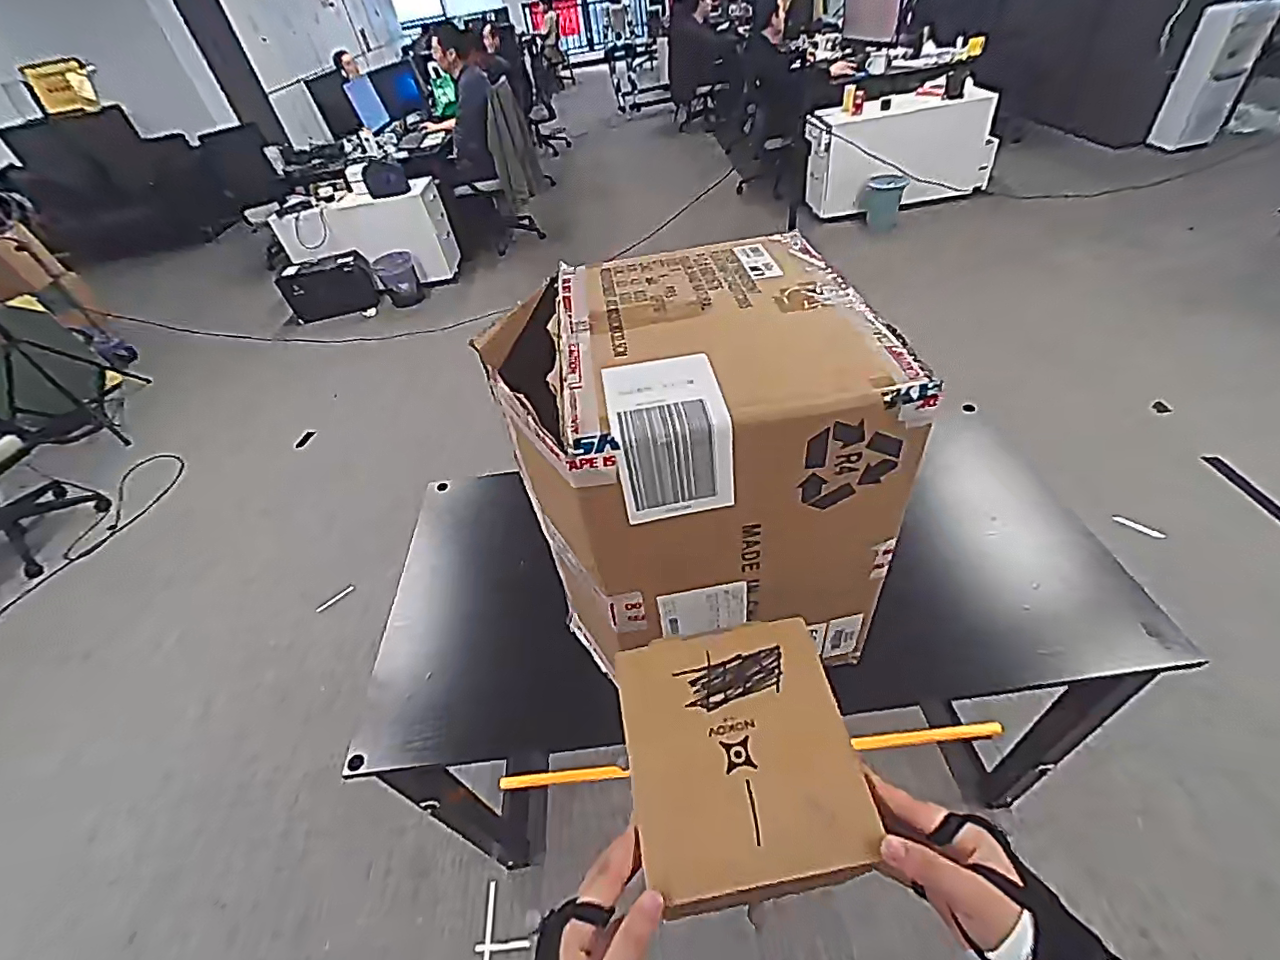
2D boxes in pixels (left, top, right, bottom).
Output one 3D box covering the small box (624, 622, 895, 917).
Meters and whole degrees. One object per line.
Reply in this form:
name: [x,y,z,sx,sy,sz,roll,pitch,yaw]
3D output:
small box: [0.084,0.251,0.467,0.168,0.176,0.179,-10,49,-1]
